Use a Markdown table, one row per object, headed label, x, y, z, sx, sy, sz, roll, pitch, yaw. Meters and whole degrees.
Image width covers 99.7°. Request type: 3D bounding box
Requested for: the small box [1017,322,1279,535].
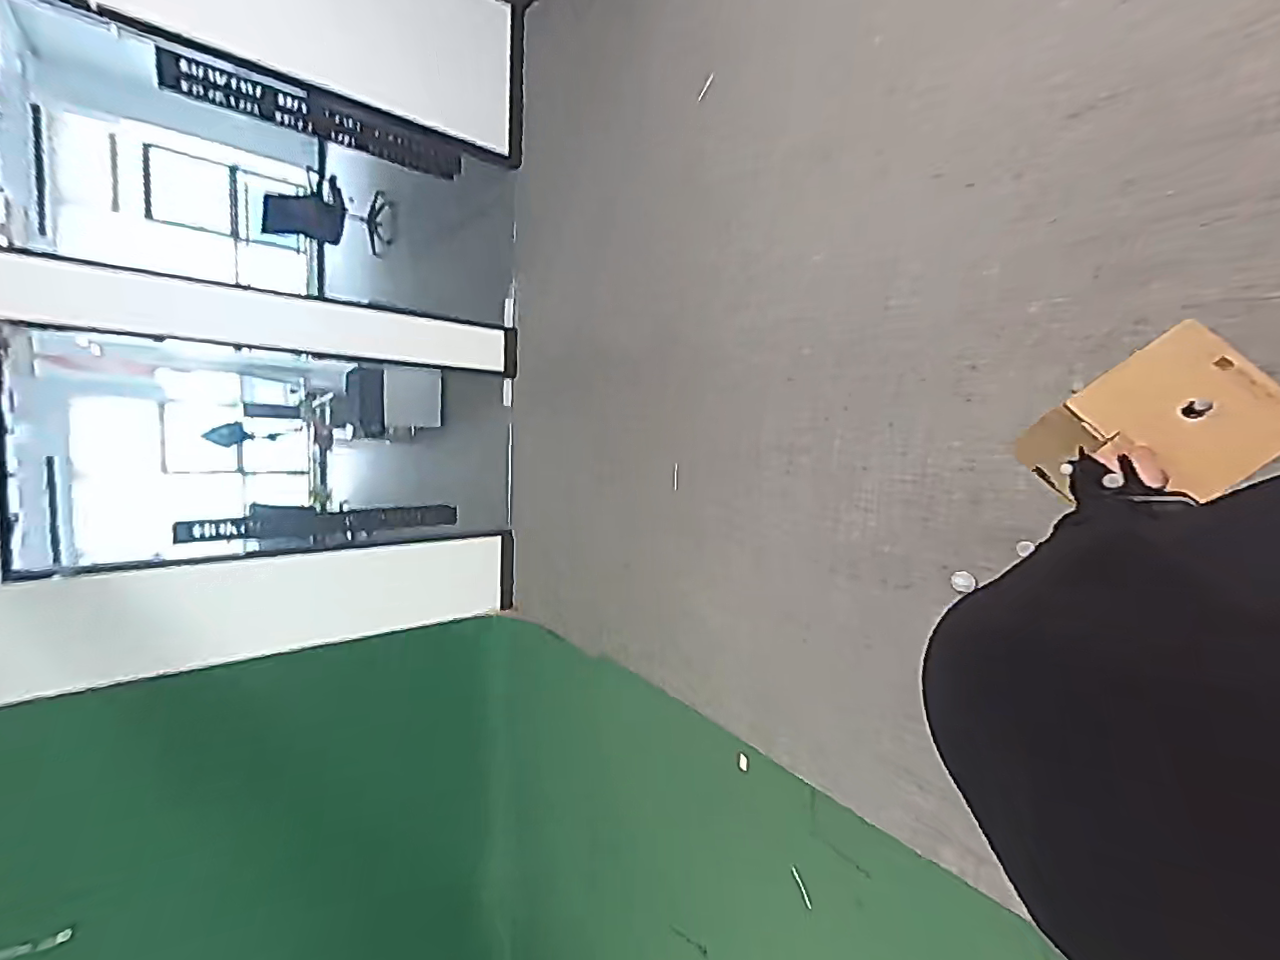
| label | x | y | z | sx | sy | sz | roll | pitch | yaw |
| --- | --- | --- | --- | --- | --- | --- | --- | --- | --- |
| small box | 0.627 | -0.058 | 0.662 | 0.176 | 0.179 | 0.168 | -35 | 70 | 4 |
